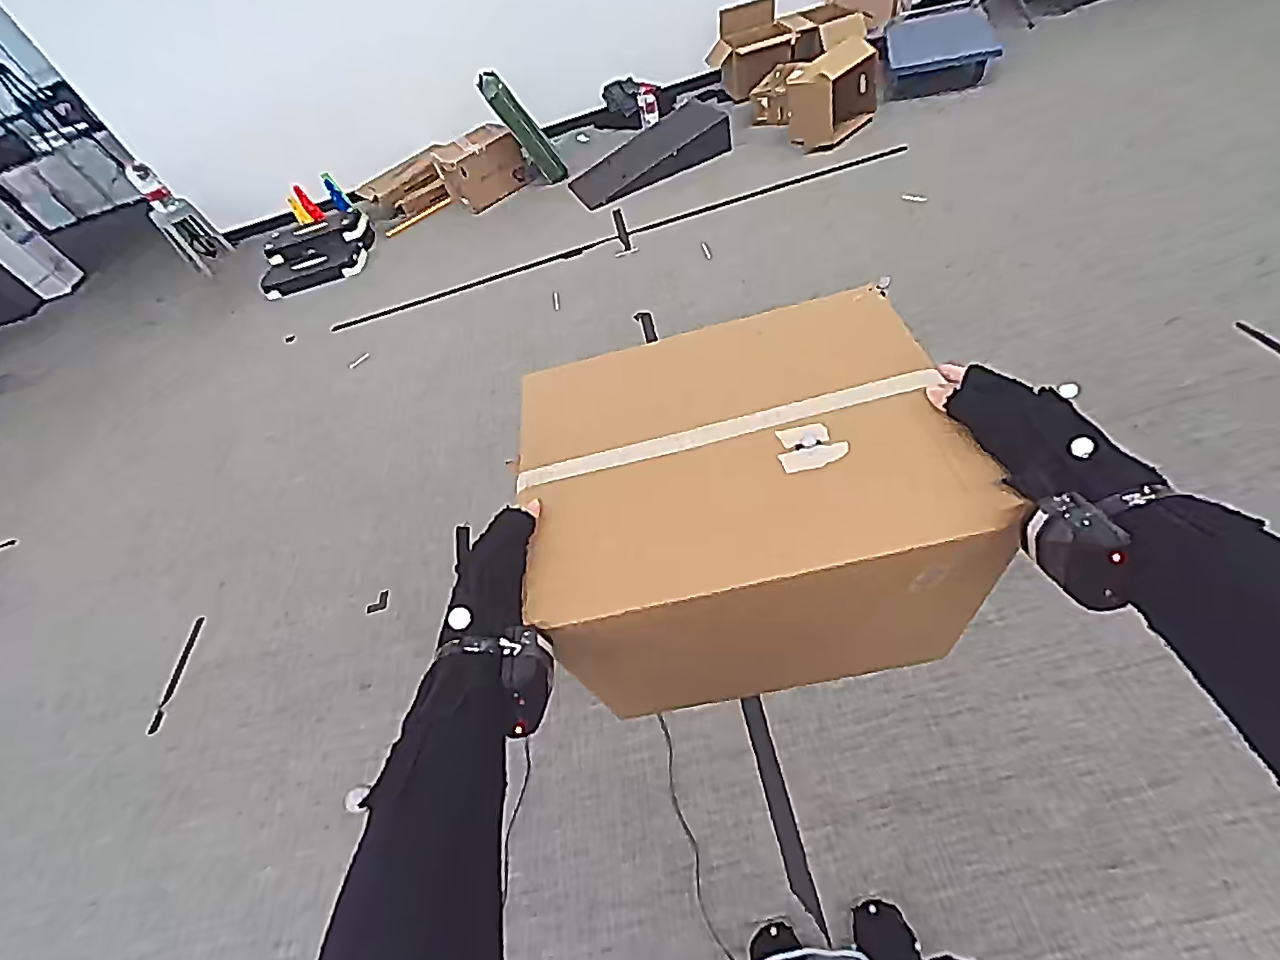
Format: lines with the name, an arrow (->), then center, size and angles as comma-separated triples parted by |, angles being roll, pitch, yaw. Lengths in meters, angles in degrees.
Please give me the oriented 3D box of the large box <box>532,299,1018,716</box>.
large box -> 0.115, 0.048, 0.642 | 0.408, 0.320, 0.320 | -13, 52, 5
